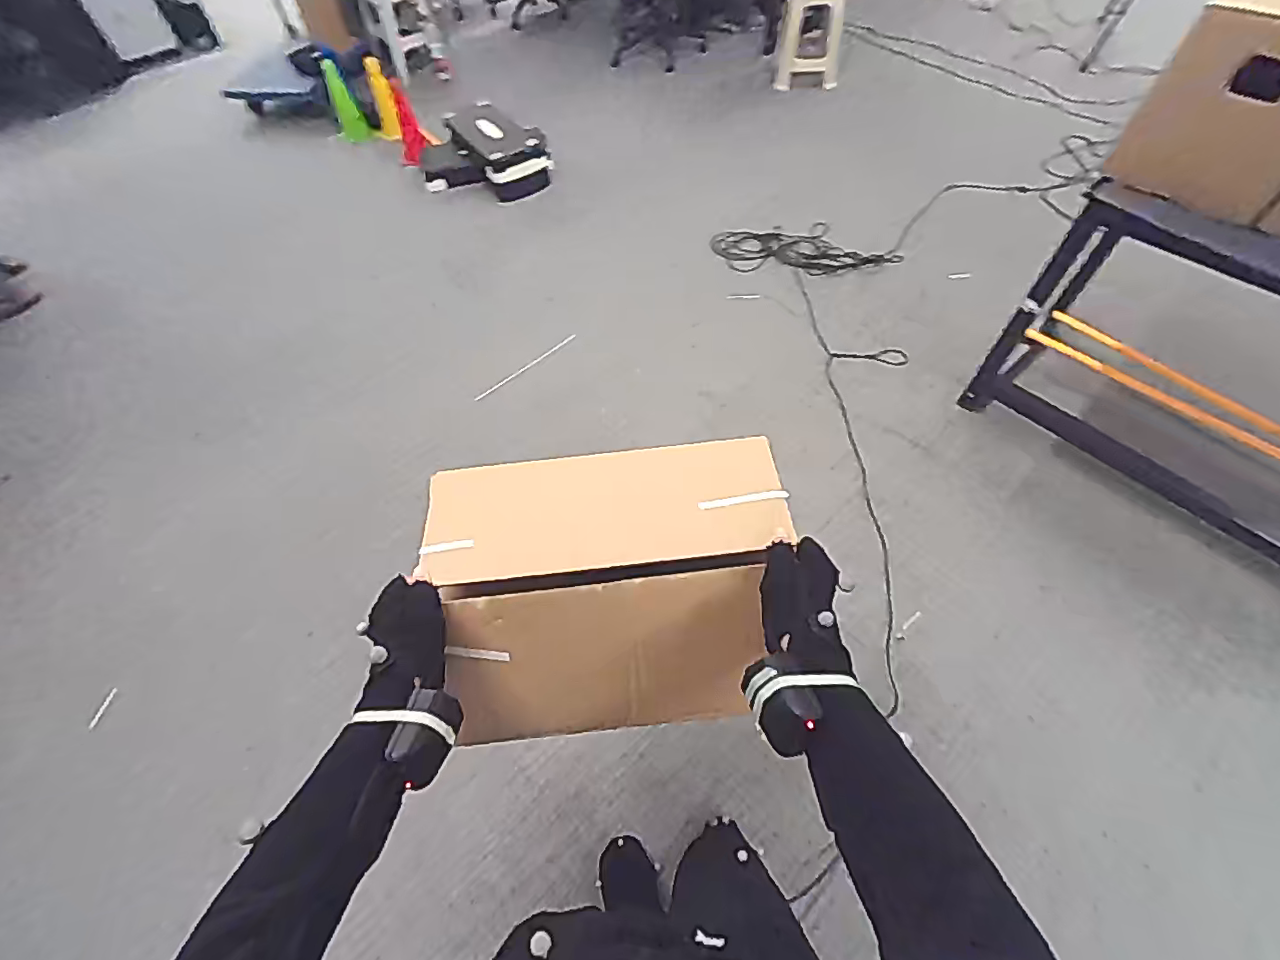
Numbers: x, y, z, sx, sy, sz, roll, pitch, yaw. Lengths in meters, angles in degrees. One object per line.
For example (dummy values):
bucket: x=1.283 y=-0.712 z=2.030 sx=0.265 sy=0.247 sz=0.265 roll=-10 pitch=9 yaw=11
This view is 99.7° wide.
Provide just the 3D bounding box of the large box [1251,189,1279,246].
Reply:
large box: x=1.498 y=-0.628 z=0.998 sx=0.408 sy=0.320 sz=0.320 roll=-39 pitch=61 yaw=-19
